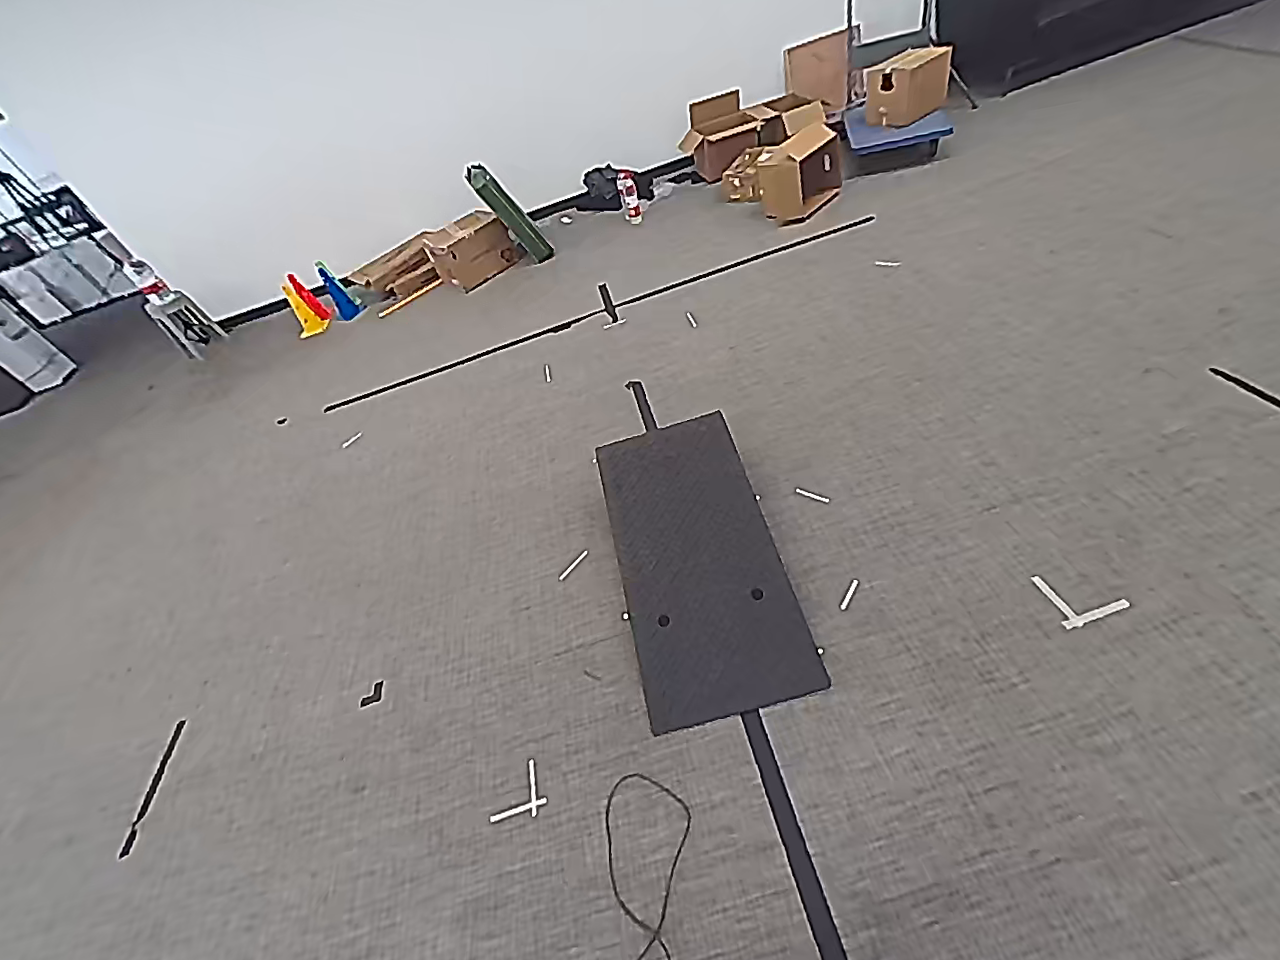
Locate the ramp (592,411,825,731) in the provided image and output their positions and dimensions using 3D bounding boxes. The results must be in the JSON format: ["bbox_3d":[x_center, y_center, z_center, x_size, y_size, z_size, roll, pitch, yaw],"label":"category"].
[{"bbox_3d":[0.160,0.212,1.717,0.509,0.206,0.991,-18,45,1],"label":"ramp"}]
